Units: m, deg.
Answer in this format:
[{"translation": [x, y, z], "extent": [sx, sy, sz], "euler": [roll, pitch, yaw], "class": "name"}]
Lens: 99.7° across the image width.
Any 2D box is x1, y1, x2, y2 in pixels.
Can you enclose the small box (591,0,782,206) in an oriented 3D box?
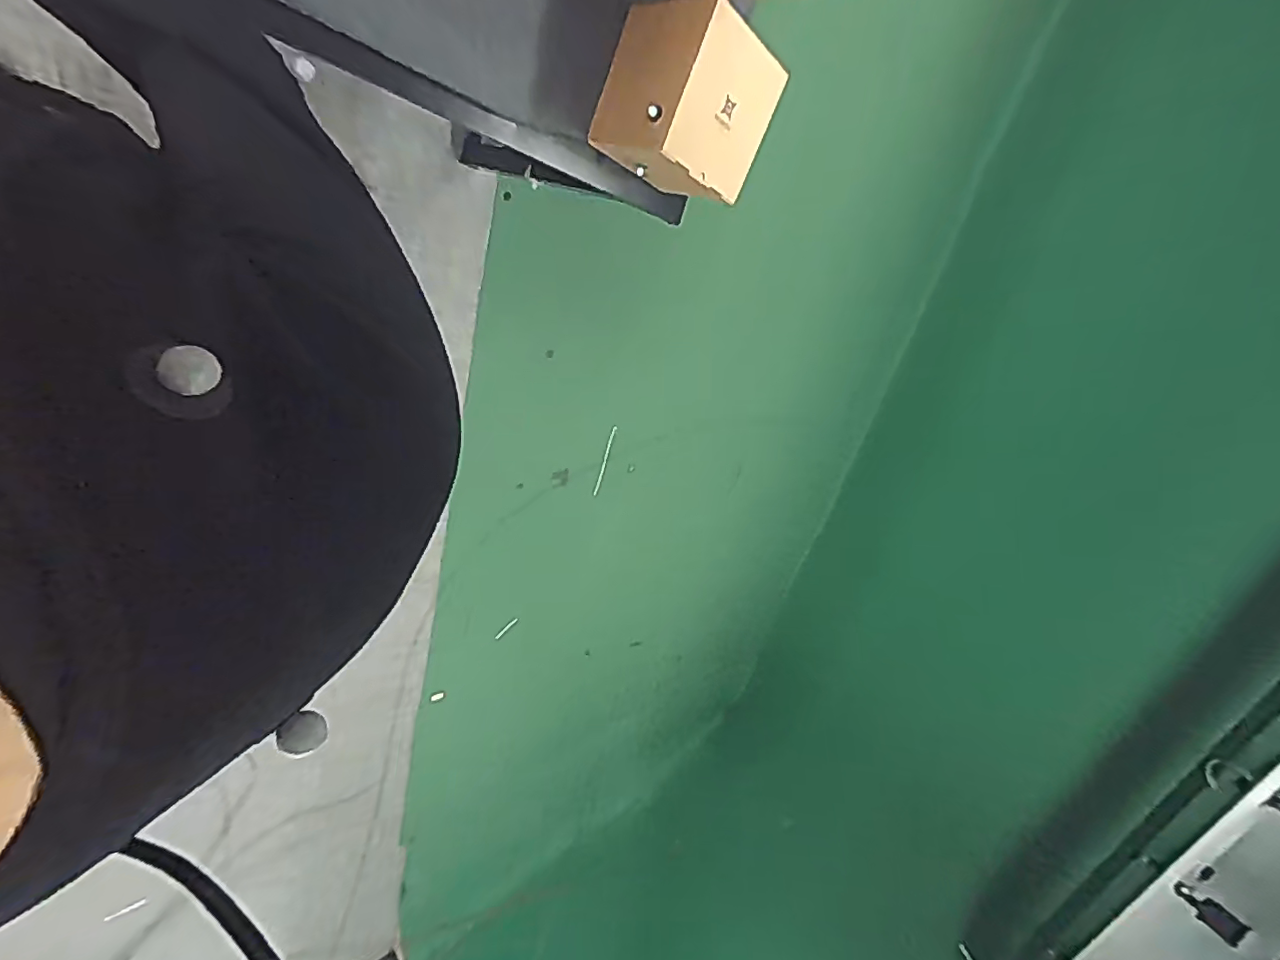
[{"translation": [0.059, -0.520, 0.756], "extent": [0.168, 0.176, 0.179], "euler": [4, 117, -48], "class": "small box"}]
